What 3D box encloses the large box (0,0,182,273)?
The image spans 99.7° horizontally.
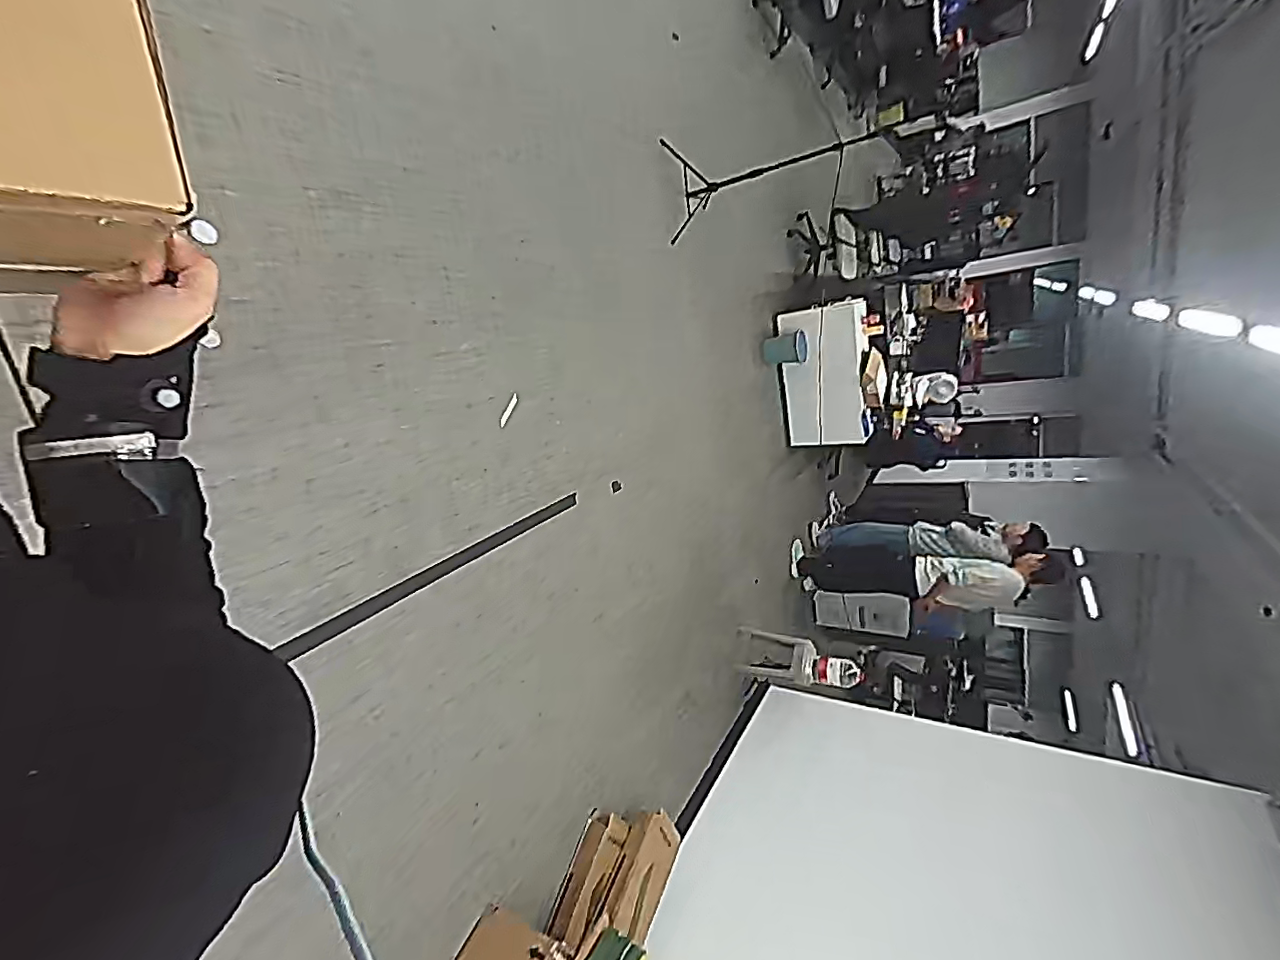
[{"bbox_3d":[-0.466,-0.251,0.159,0.408,0.320,0.320,-22,114,-49],"label":"large box"}]
